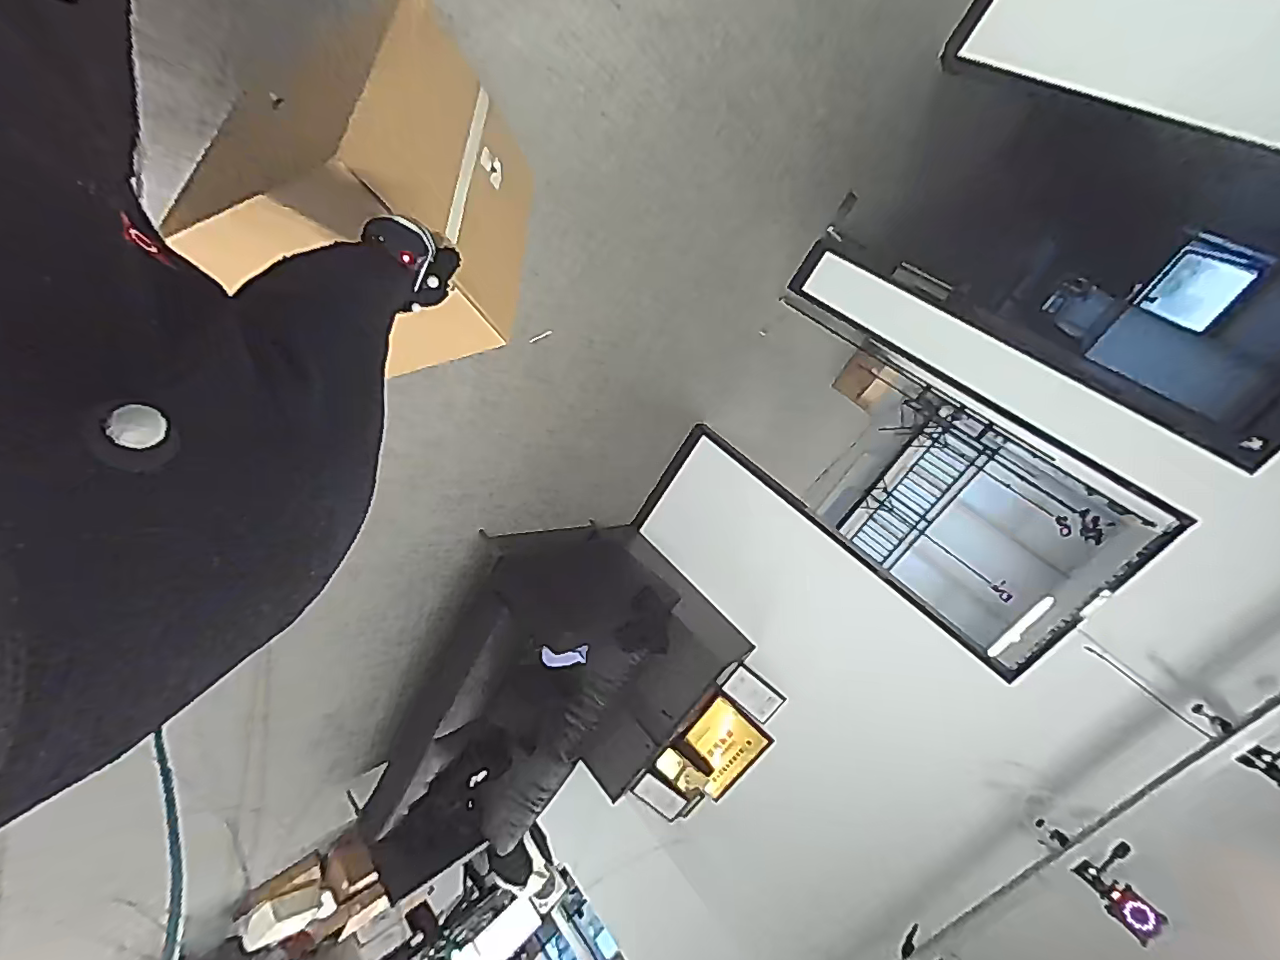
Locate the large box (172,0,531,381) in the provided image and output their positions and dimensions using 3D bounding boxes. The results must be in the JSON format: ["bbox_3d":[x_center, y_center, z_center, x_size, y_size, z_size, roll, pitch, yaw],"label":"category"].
[{"bbox_3d":[-0.393,-0.424,0.825,0.320,0.408,0.320,-10,152,19],"label":"large box"}]
